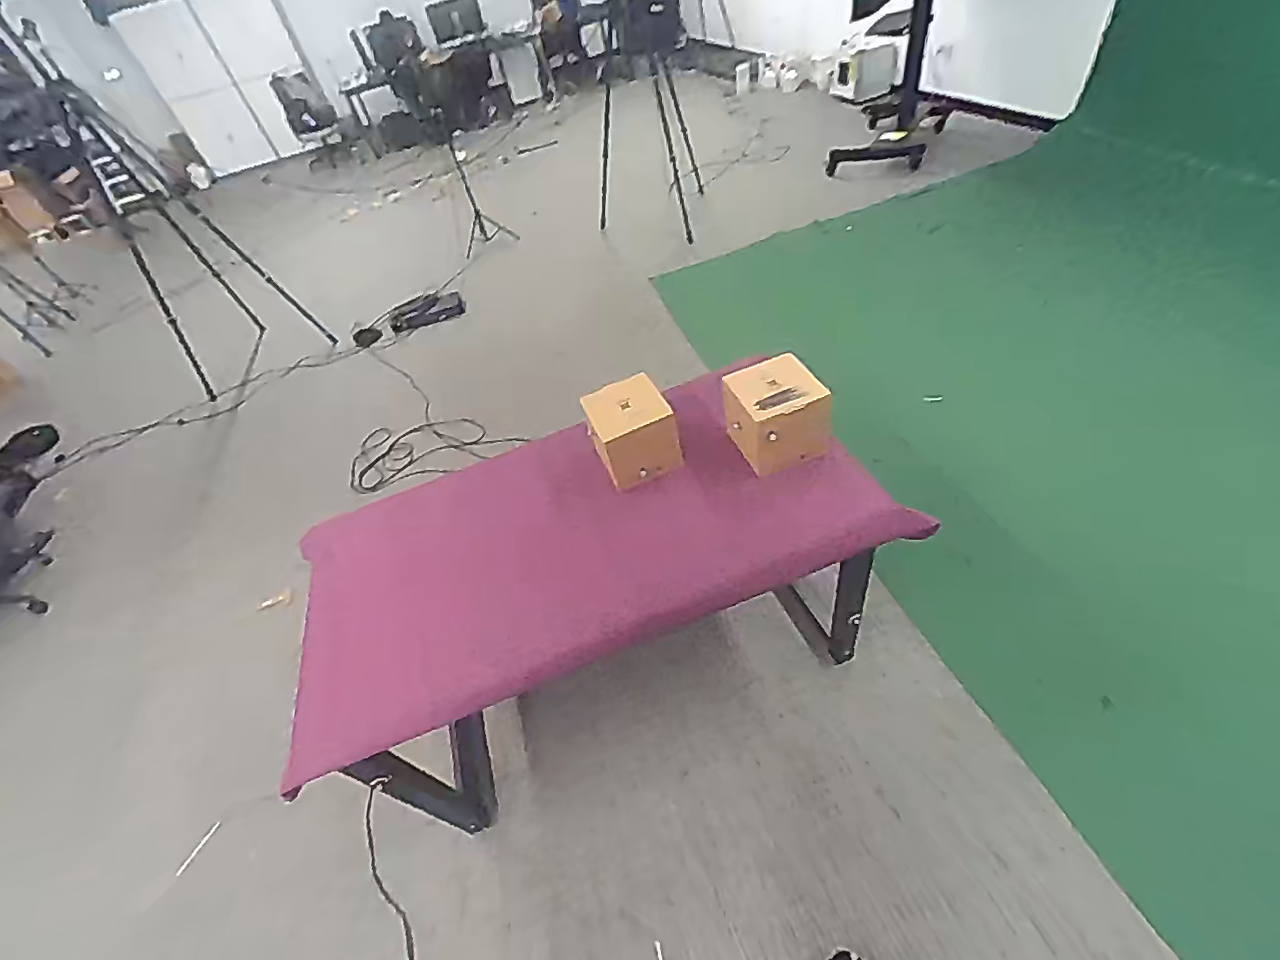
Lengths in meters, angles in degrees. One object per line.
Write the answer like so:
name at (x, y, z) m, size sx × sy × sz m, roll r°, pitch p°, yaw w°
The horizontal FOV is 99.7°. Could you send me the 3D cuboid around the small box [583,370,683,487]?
small box at (-0.014, -0.116, 1.238) m, size 0.168 × 0.176 × 0.179 m, roll -23°, pitch 48°, yaw -6°
